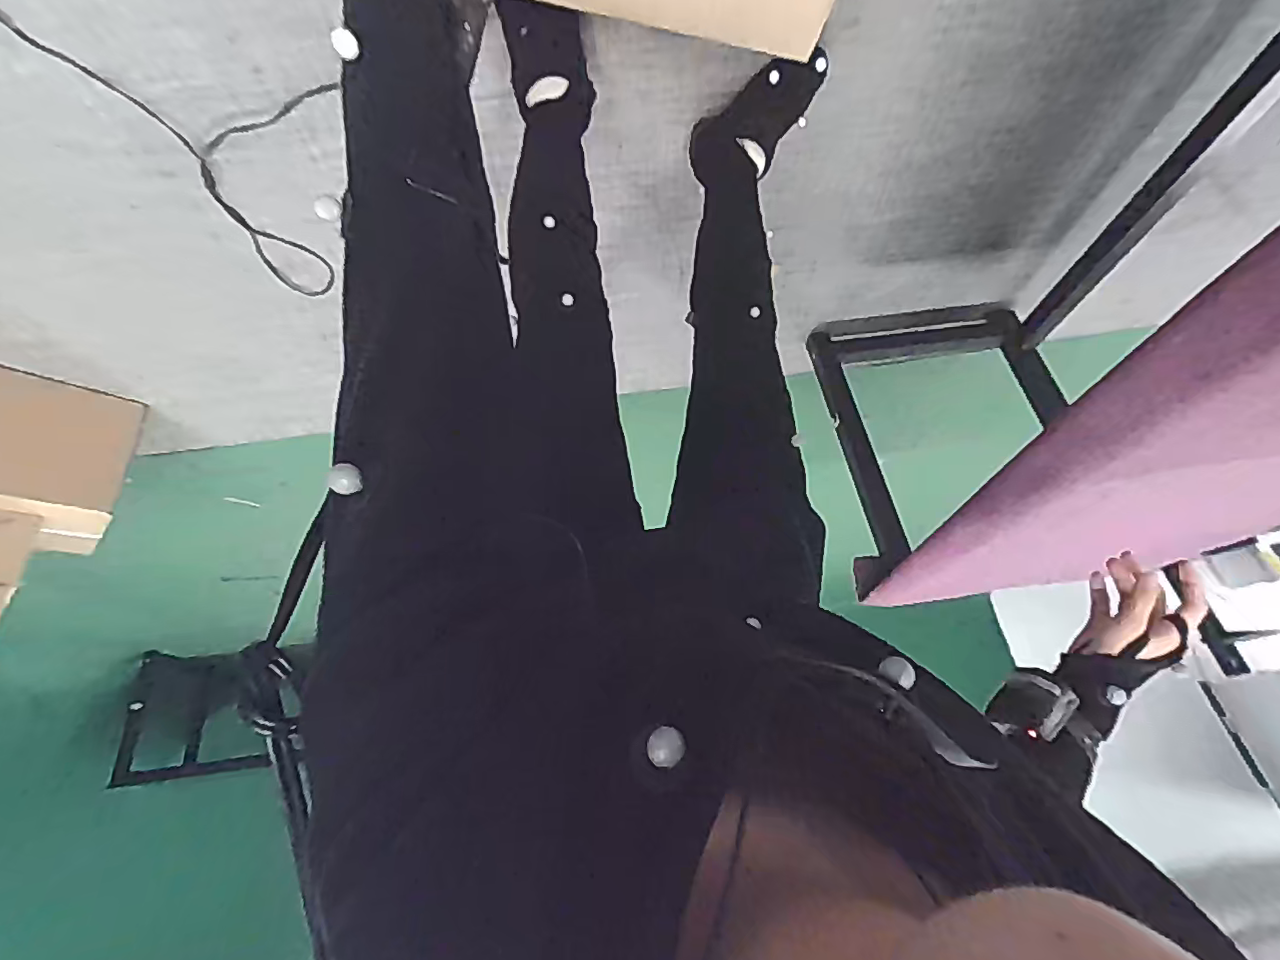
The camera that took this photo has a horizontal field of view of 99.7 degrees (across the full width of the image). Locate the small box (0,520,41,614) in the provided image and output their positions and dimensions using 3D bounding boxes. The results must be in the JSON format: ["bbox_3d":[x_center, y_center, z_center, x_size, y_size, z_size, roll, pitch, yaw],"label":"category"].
[{"bbox_3d":[-1.432,0.183,1.150,0.179,0.176,0.168,-27,146,30],"label":"small box"}]
